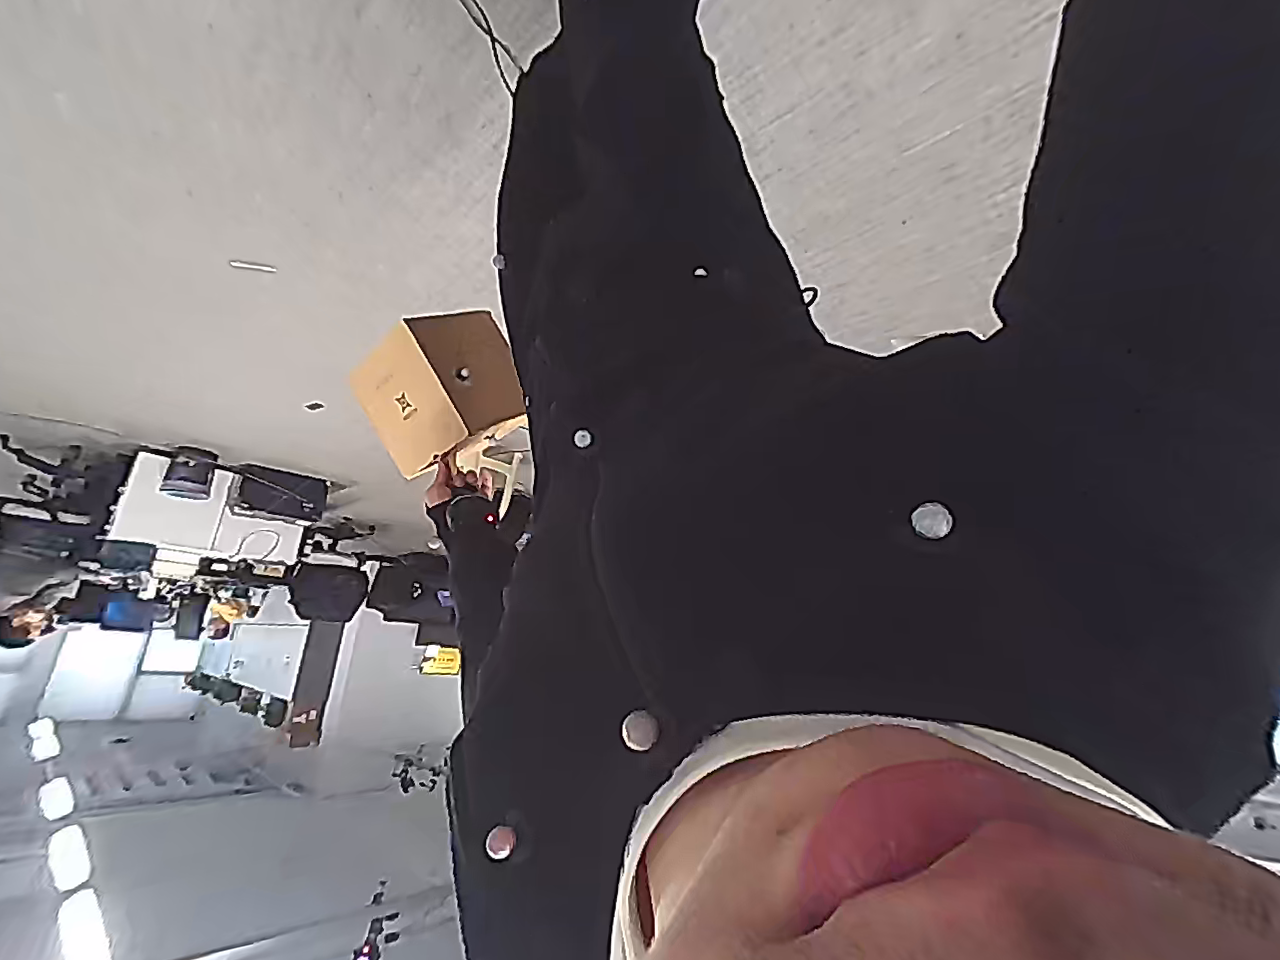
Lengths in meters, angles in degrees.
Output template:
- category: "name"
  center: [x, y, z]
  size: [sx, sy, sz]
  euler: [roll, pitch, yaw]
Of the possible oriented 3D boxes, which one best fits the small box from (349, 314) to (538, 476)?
- category: "small box"
  center: [-0.289, -0.134, 0.824]
  size: [0.168, 0.179, 0.176]
  euler: [-25, -173, 32]
